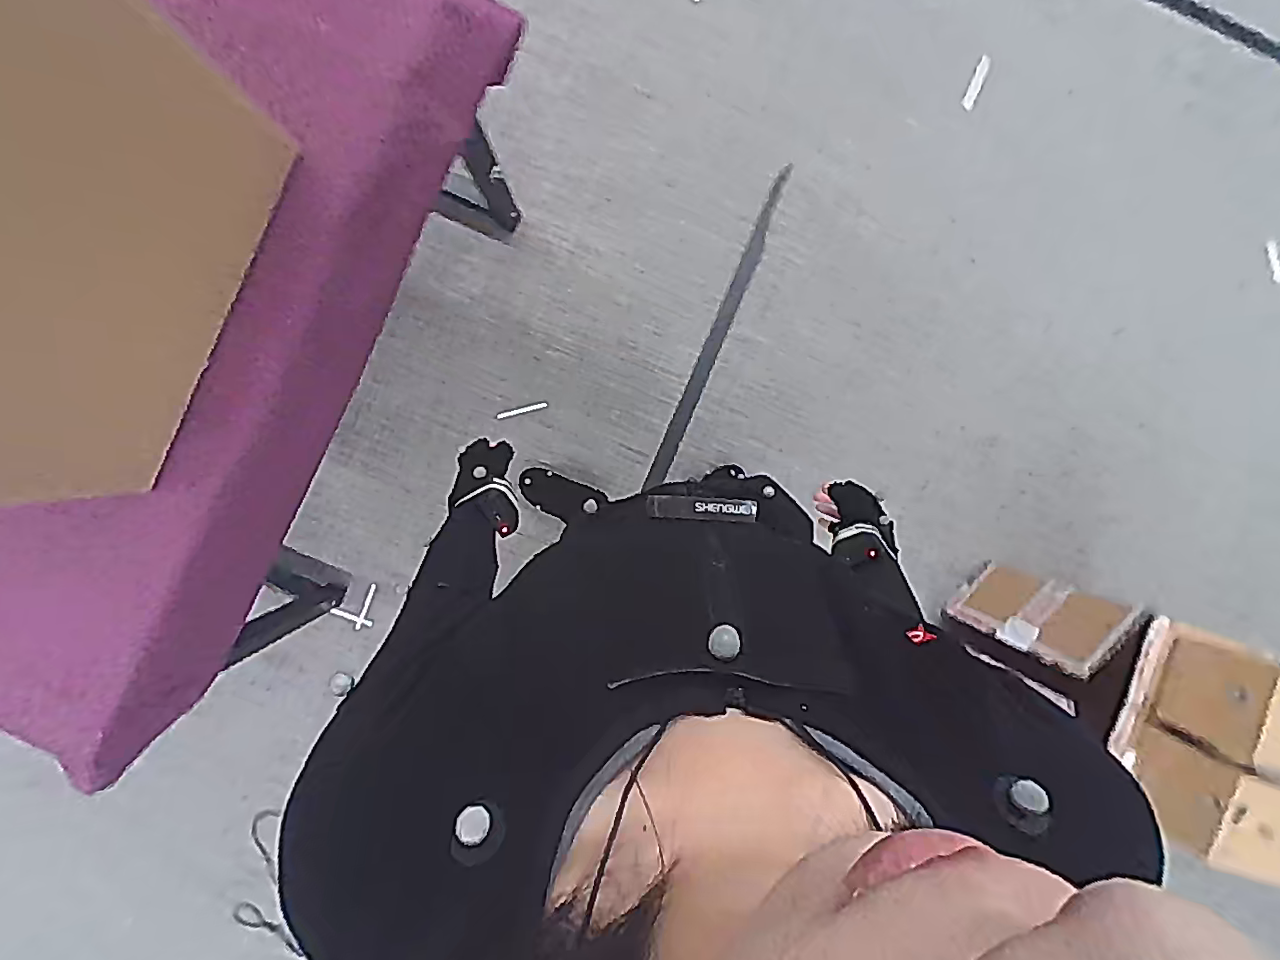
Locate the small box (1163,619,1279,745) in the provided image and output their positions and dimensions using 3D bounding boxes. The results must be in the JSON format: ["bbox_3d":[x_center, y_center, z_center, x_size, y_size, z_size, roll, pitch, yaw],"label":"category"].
[{"bbox_3d":[1.144,0.376,1.009,0.168,0.176,0.179,14,91,-4],"label":"small box"}]

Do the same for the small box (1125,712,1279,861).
[{"bbox_3d":[1.090,0.566,1.018,0.179,0.176,0.168,17,94,-5],"label":"small box"}]
